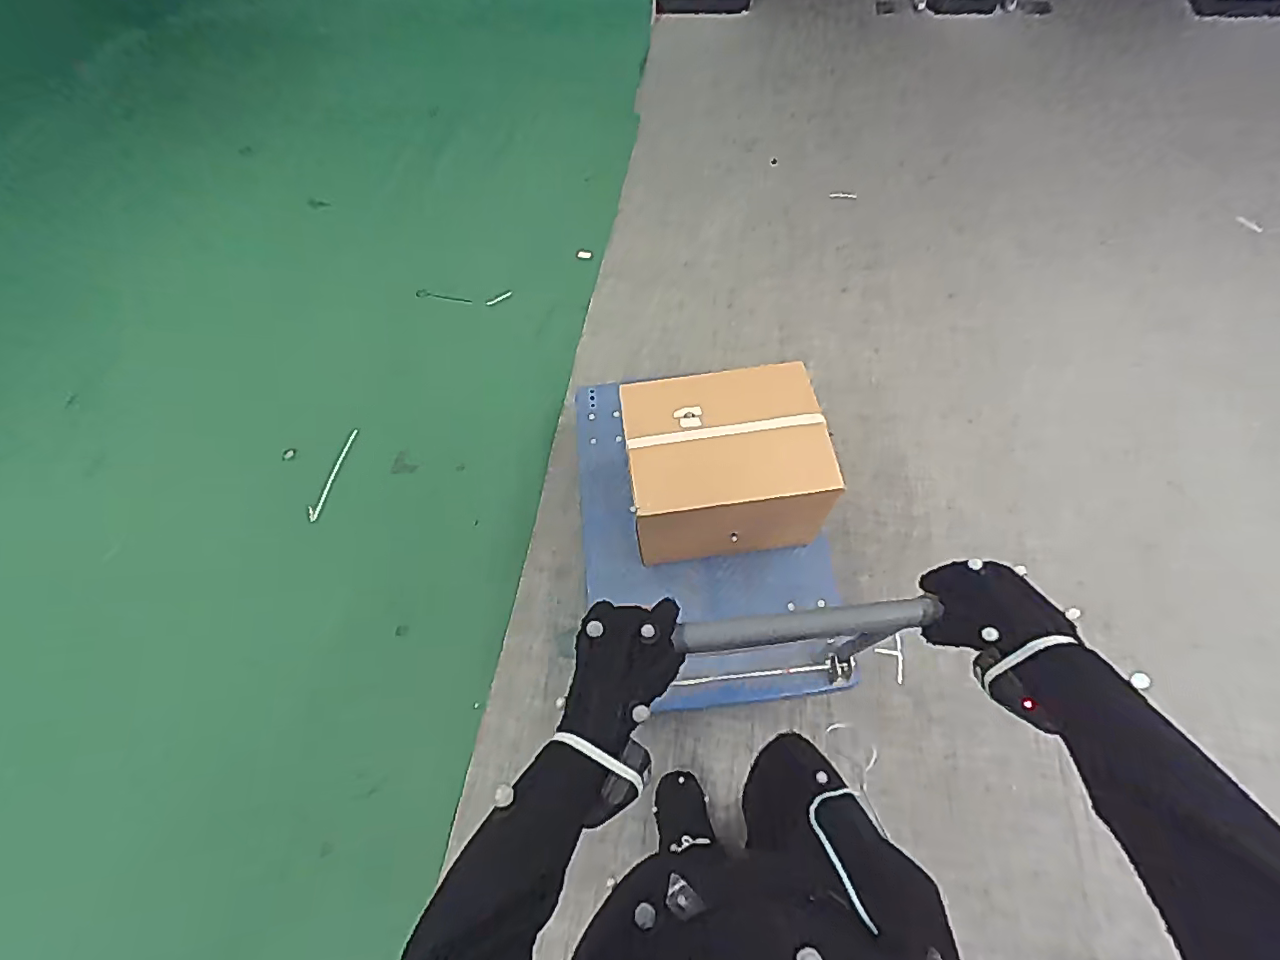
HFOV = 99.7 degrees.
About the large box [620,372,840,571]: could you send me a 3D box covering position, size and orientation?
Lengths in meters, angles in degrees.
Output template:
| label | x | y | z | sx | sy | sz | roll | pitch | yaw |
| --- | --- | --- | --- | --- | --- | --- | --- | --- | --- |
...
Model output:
| label | x | y | z | sx | sy | sz | roll | pitch | yaw |
| --- | --- | --- | --- | --- | --- | --- | --- | --- | --- |
| large box | 0.186 | -0.006 | 1.242 | 0.408 | 0.320 | 0.320 | -9 | 62 | 1 |
